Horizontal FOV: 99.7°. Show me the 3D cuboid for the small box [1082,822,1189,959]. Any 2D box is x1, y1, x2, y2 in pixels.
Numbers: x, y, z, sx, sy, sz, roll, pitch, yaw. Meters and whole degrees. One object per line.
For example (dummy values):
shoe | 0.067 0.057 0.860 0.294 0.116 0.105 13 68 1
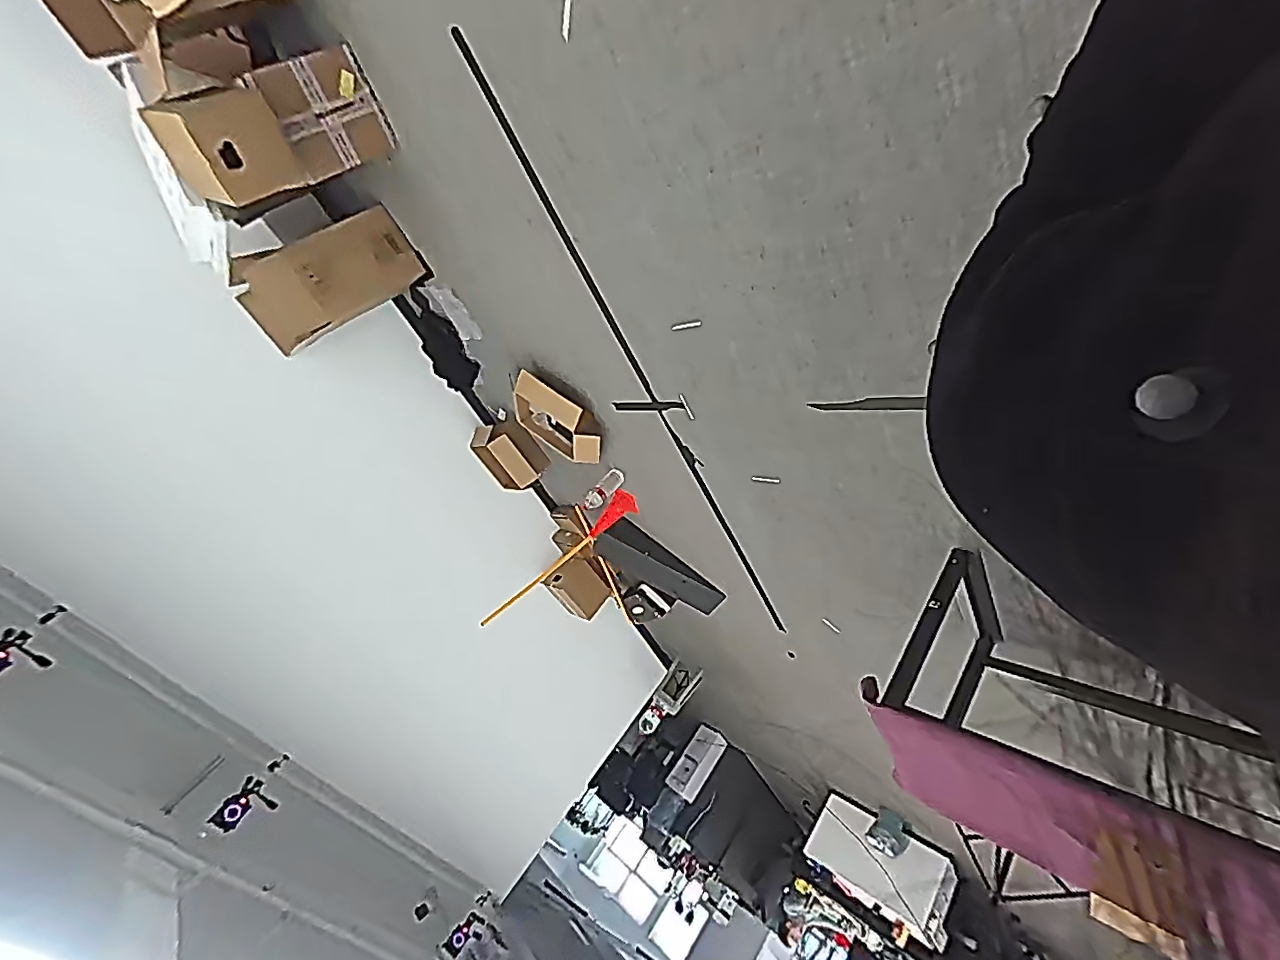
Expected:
small box | 1.156 0.952 1.264 0.168 0.176 0.179 8 138 46
